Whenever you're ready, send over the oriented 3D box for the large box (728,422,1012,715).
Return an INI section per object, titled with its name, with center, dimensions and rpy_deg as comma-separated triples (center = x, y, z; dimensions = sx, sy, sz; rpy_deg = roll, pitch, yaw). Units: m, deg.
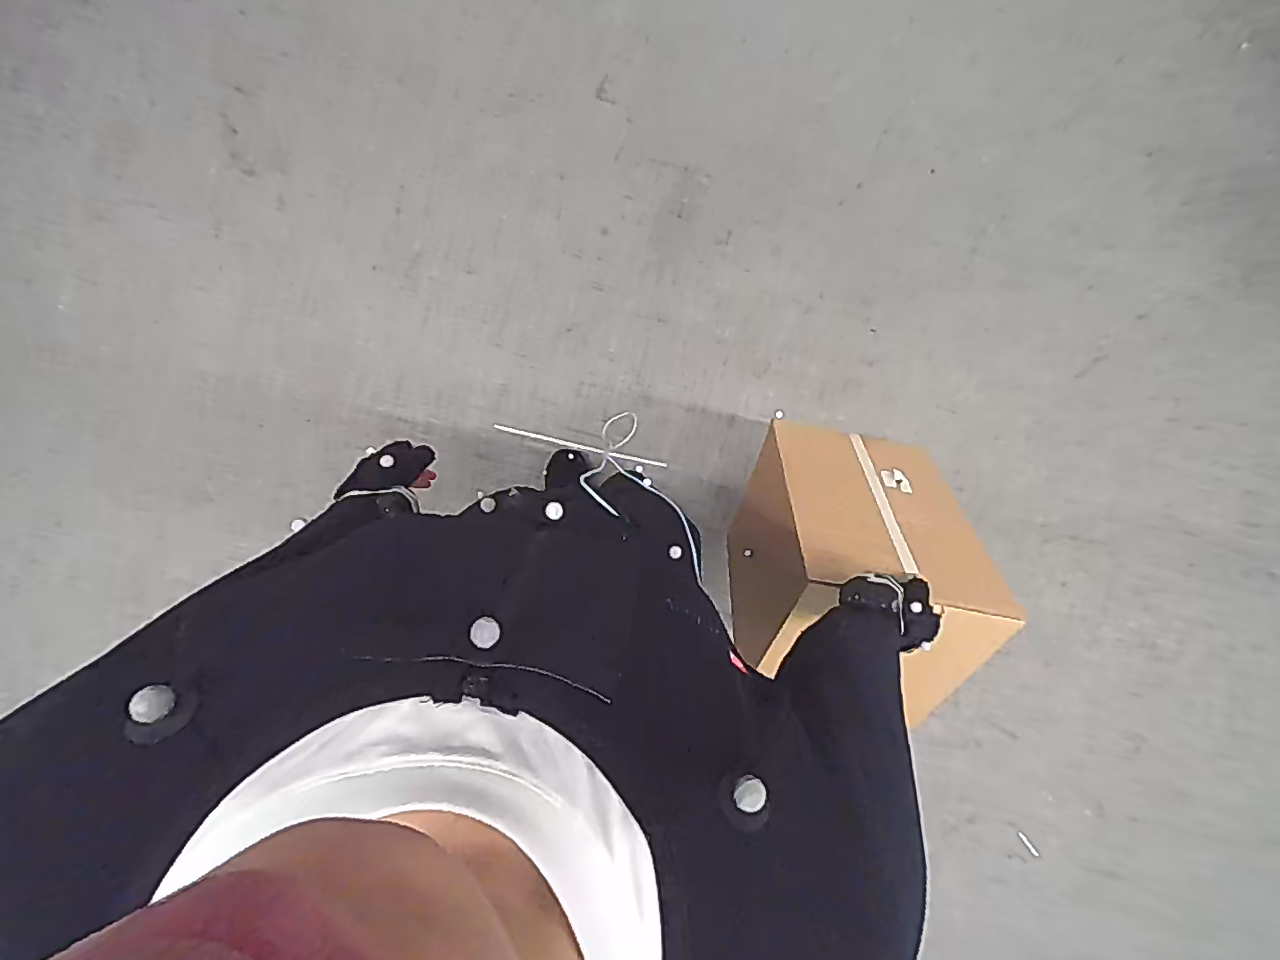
[large box]
center = 0.358, 0.153, 0.988
dimensions = 0.320, 0.408, 0.320
rpy_deg = 12, 129, -4
